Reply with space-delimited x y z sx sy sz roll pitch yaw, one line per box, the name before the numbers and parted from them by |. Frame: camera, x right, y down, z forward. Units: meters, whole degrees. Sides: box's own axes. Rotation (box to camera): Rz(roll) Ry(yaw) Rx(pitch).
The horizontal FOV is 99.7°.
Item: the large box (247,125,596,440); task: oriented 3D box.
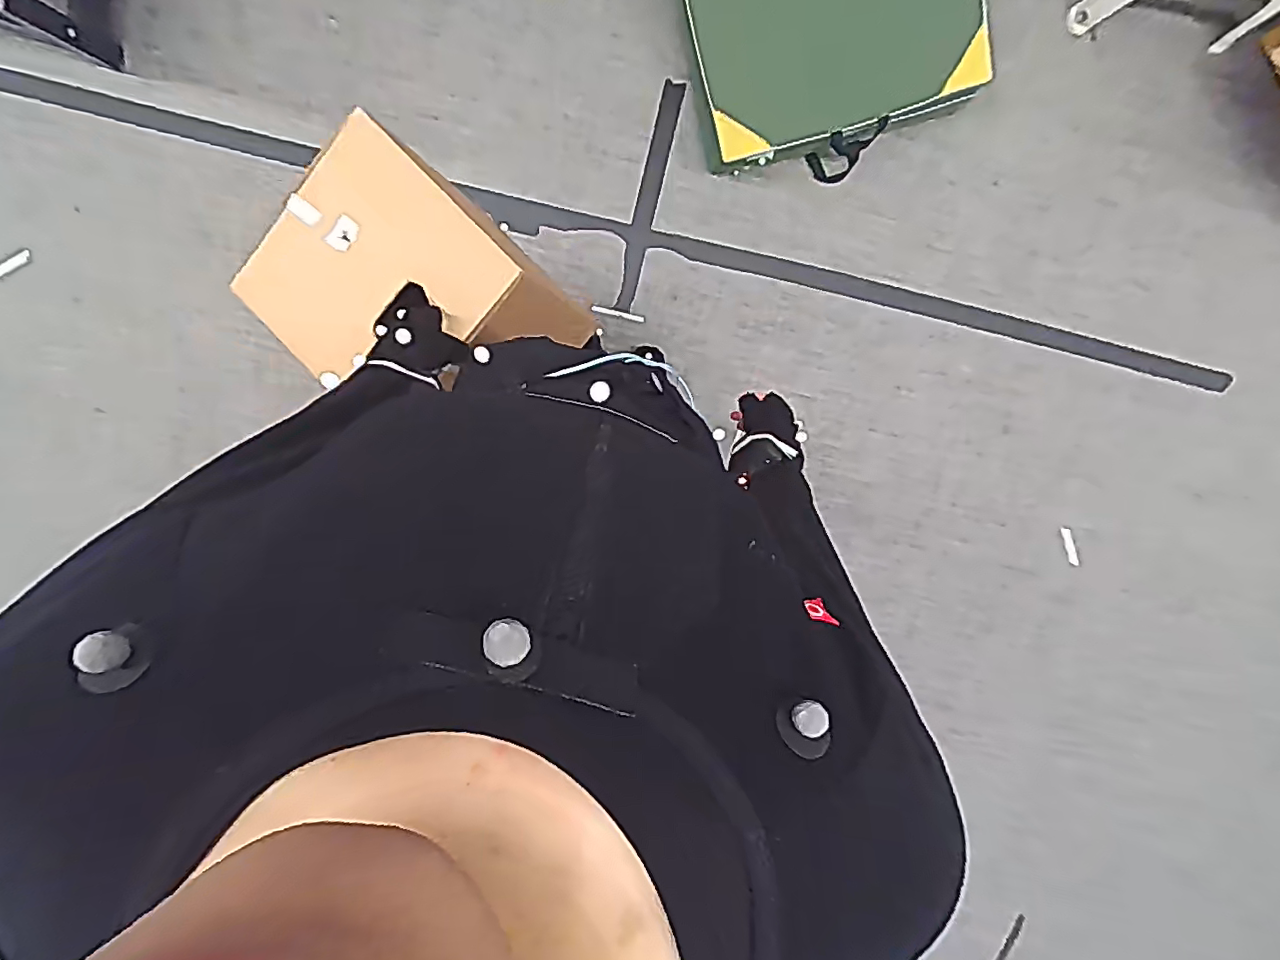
large box | -0.332 -0.292 0.929 0.320 0.408 0.320 -43 88 12
